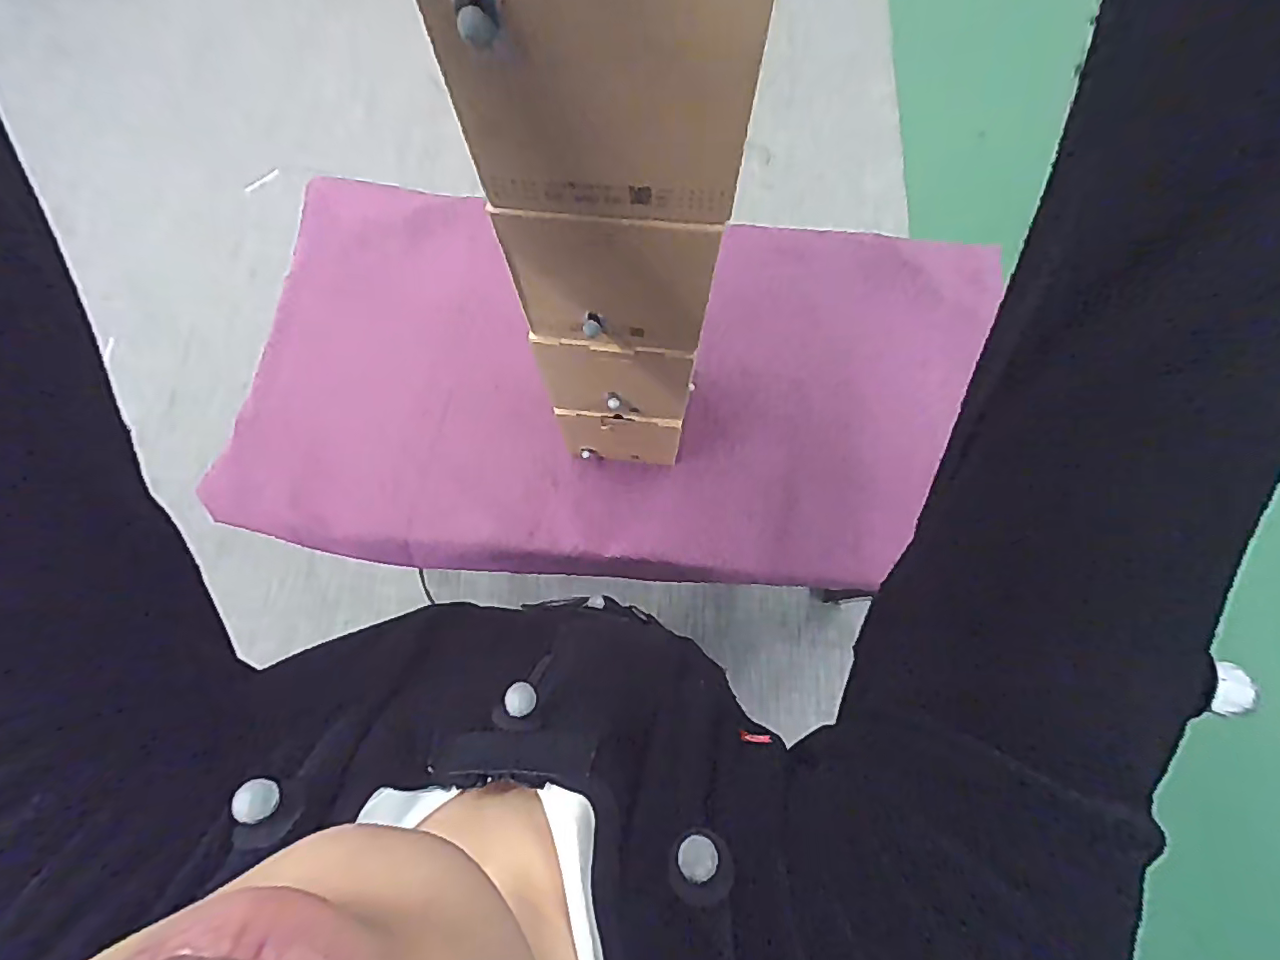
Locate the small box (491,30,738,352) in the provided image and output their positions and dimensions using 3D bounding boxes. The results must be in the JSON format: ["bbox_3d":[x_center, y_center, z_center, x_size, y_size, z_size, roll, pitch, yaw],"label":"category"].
[{"bbox_3d":[-0.015,-0.238,0.474,0.168,0.176,0.179,6,74,2],"label":"small box"}]

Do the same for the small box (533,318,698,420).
[{"bbox_3d":[-0.017,-0.189,0.629,0.168,0.176,0.179,6,74,2],"label":"small box"}]

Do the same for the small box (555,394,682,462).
[{"bbox_3d":[-0.018,-0.136,0.784,0.168,0.176,0.179,7,74,1],"label":"small box"}]
